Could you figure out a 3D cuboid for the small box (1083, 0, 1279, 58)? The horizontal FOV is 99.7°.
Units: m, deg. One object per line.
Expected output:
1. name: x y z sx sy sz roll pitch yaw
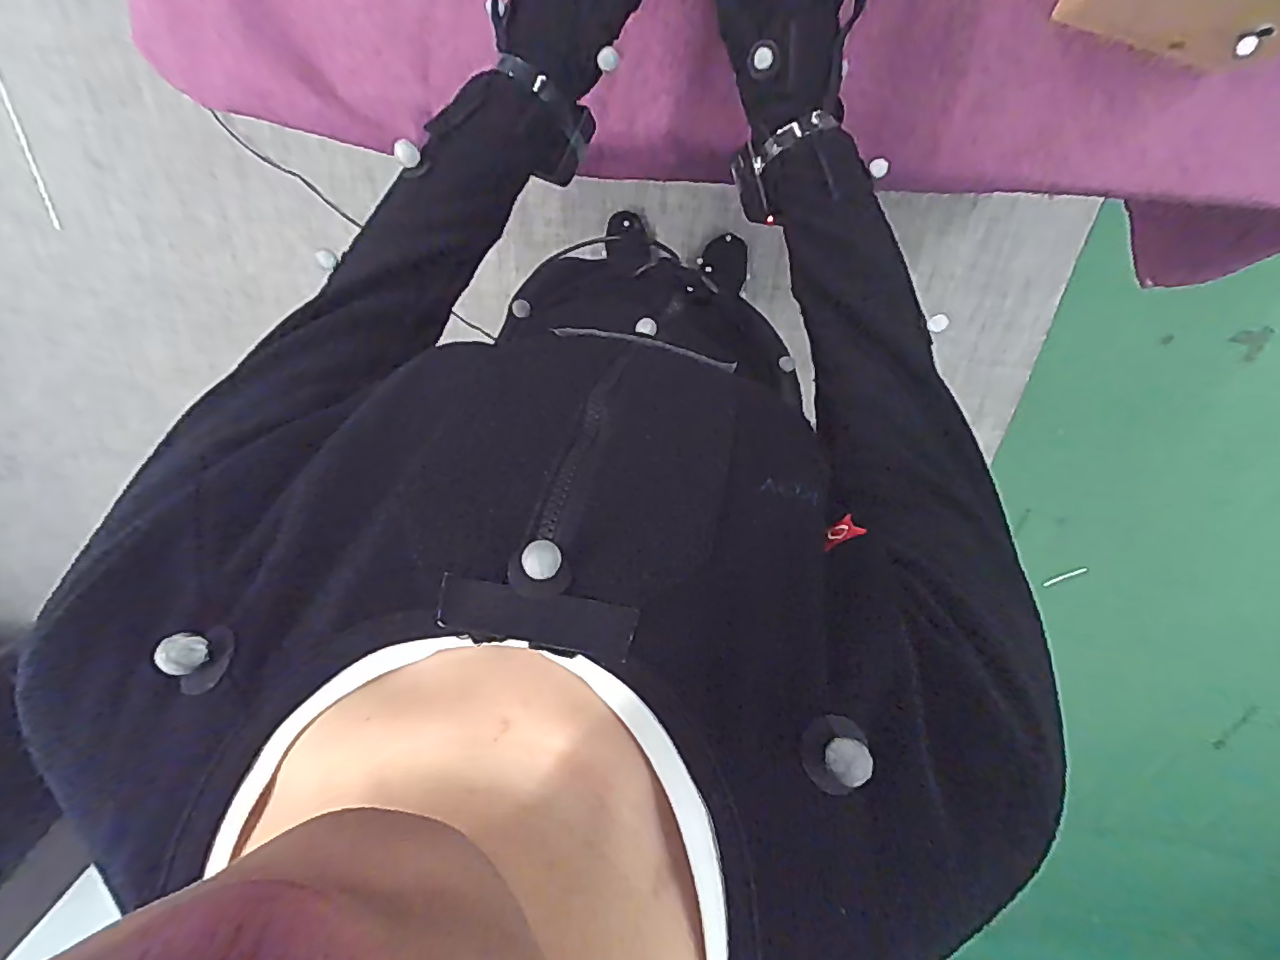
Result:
1. small box: 0.464 -0.433 0.377 0.168 0.176 0.179 16 118 -2
